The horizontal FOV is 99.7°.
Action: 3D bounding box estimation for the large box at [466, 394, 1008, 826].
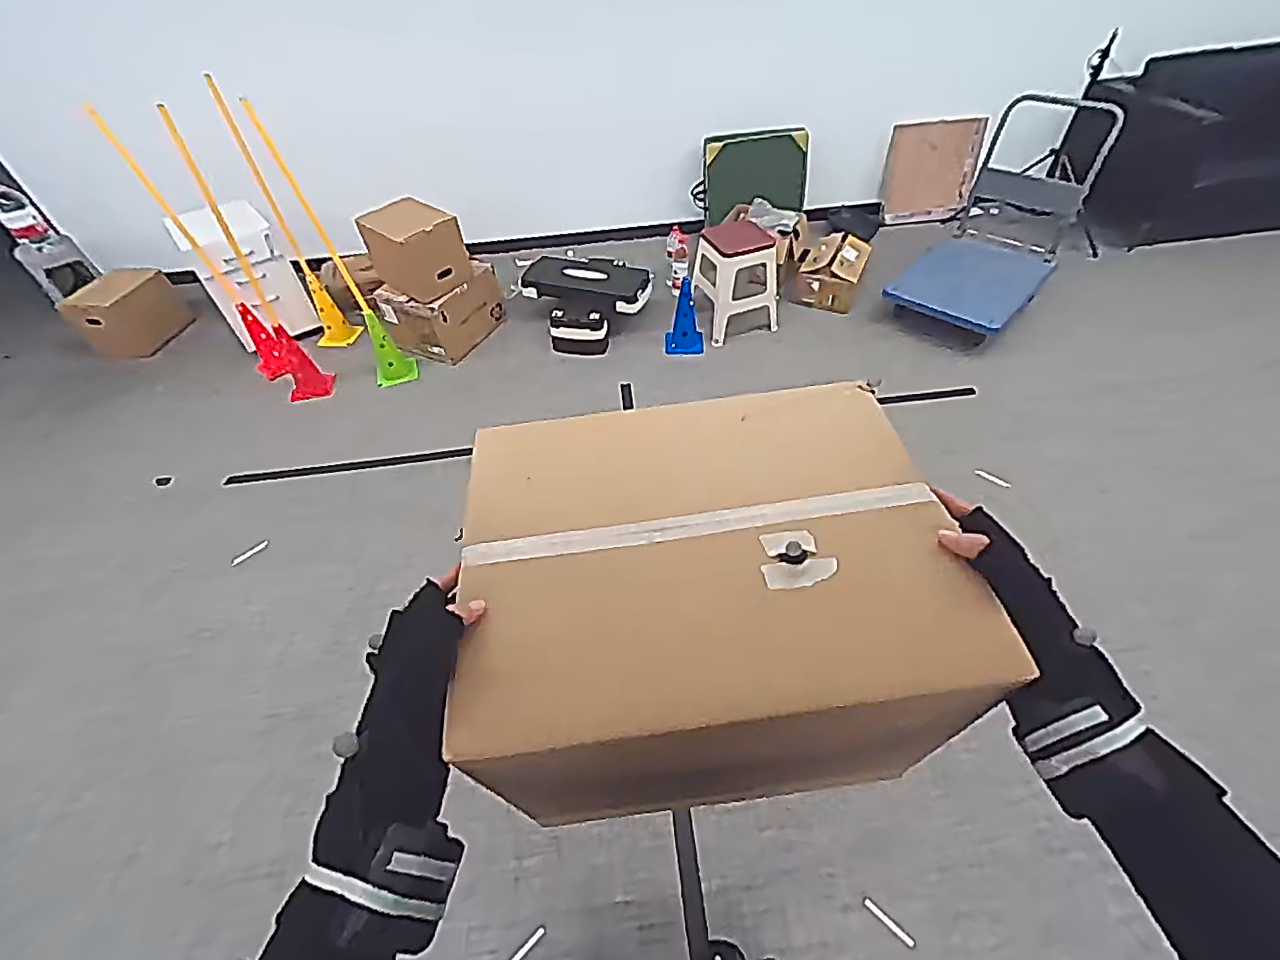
[{"bbox_3d":[0.063,0.146,0.590,0.408,0.320,0.320,-8,50,-1],"label":"large box"}]
